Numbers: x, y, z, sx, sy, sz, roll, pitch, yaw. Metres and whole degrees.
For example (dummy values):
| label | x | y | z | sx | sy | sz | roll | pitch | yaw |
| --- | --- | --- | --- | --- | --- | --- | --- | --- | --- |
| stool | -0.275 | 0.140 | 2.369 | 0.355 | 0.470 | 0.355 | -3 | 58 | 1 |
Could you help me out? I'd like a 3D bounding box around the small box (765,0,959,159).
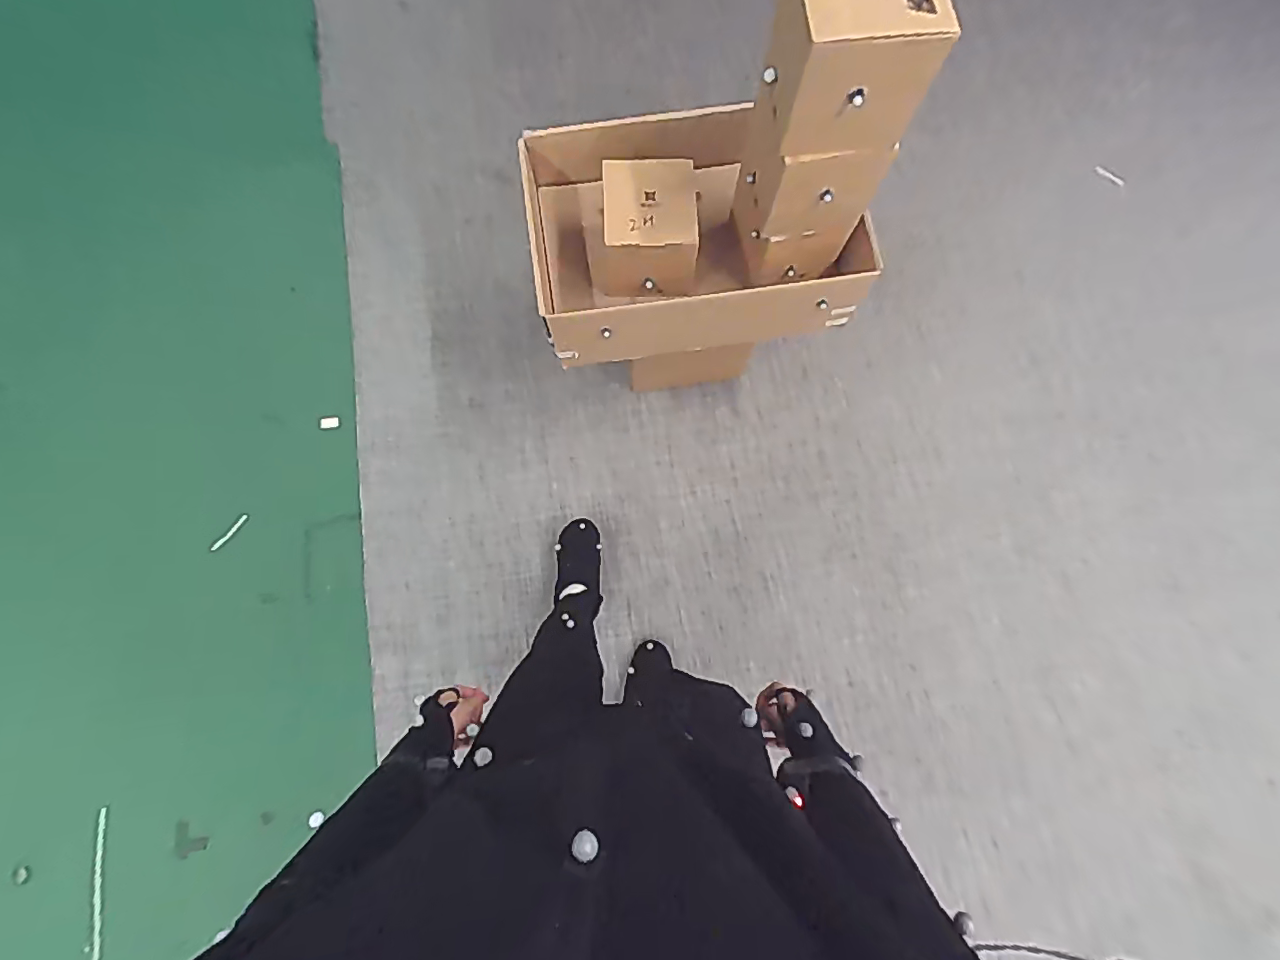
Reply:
| label | x | y | z | sx | sy | sz | roll | pitch | yaw |
| --- | --- | --- | --- | --- | --- | --- | --- | --- | --- |
| small box | 0.278 | -0.561 | 0.717 | 0.179 | 0.176 | 0.168 | -5 | 77 | 0 |
